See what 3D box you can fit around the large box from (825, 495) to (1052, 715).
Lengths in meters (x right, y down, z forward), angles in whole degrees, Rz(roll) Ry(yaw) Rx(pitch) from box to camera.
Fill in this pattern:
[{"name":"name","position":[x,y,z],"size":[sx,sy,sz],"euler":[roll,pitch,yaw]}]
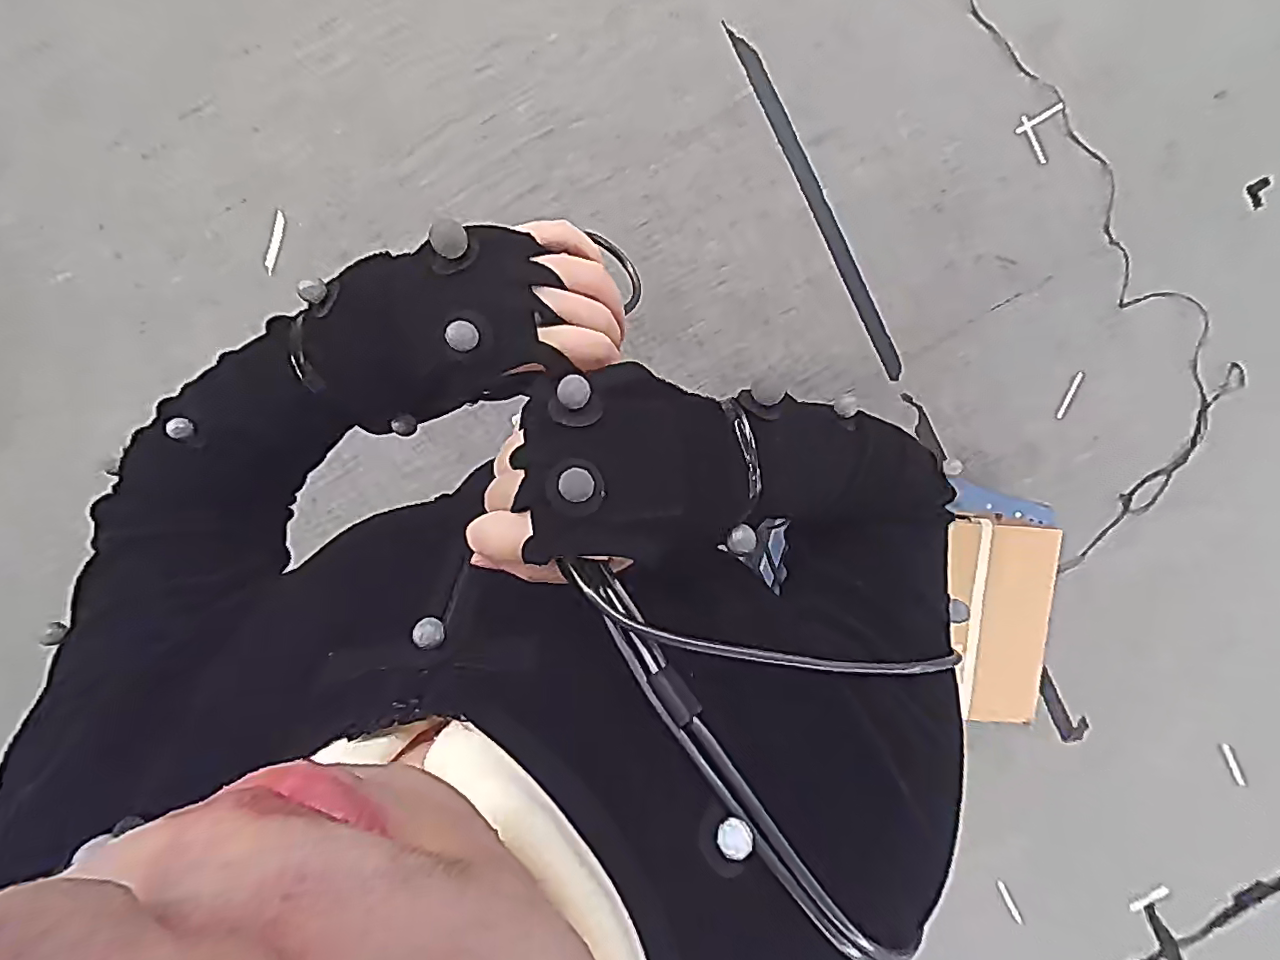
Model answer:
[{"name":"large box","position":[0.640,0.255,1.222],"size":[0.320,0.320,0.408],"euler":[5,96,-2]}]
